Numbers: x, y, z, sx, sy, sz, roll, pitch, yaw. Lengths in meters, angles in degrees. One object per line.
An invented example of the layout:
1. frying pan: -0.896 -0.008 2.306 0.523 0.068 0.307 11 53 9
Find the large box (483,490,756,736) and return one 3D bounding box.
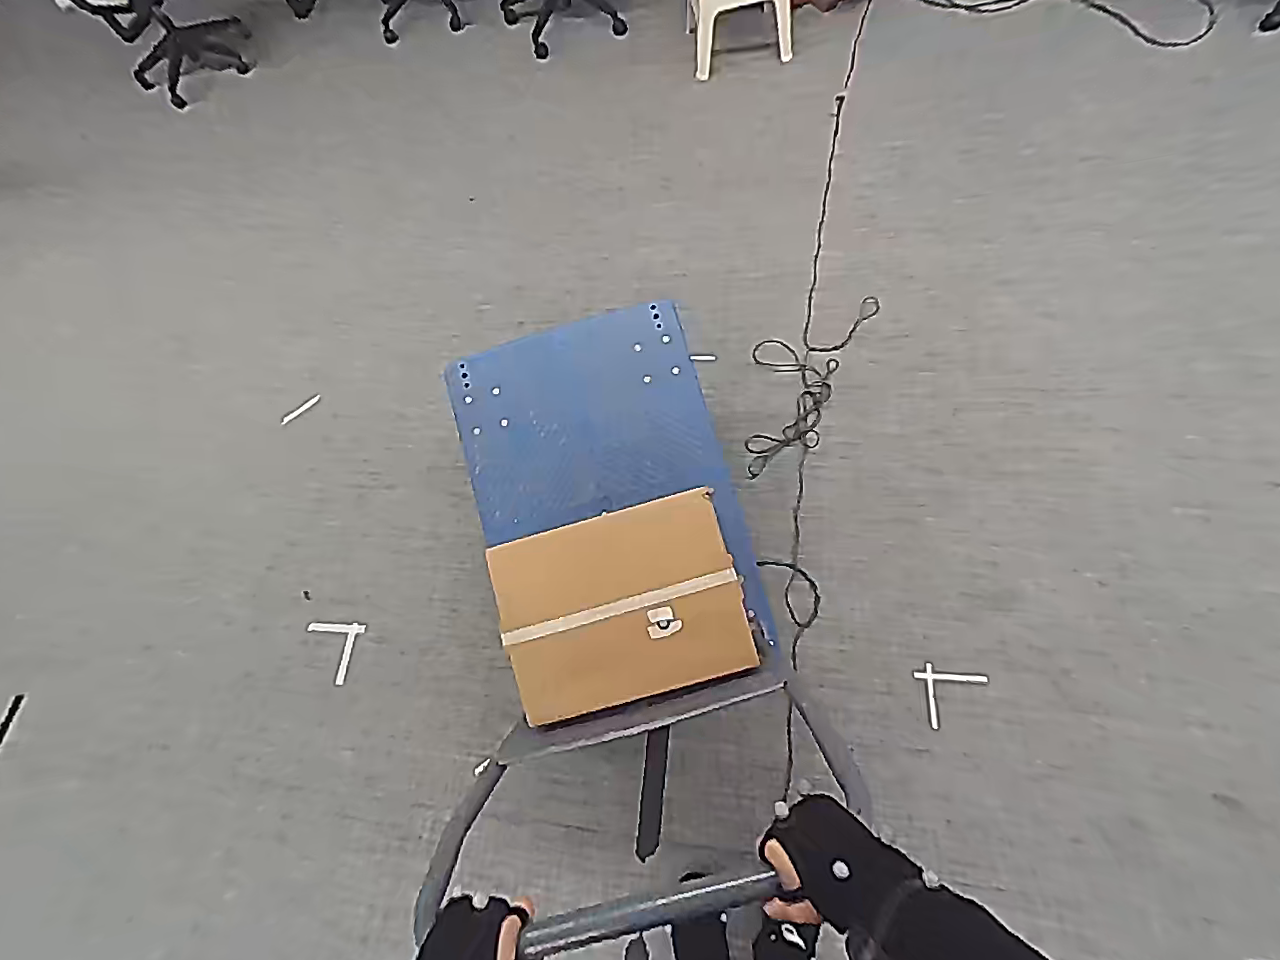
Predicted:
1. large box: -0.033 0.238 1.056 0.408 0.320 0.320 -17 84 1
